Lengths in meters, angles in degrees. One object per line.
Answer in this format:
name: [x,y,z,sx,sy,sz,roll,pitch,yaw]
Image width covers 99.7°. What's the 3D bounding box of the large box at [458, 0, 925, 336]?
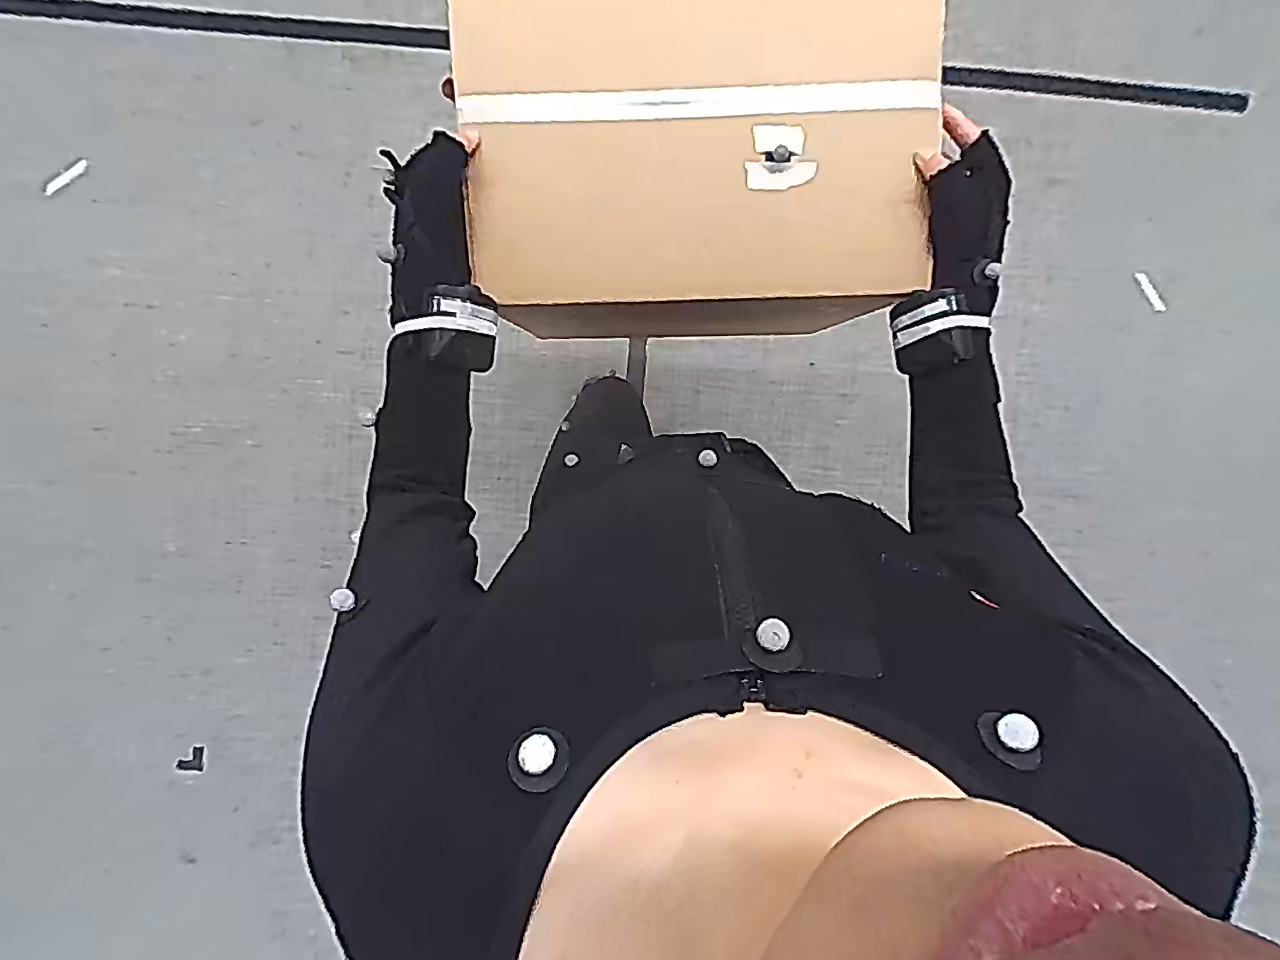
large box: [0.044,-0.347,0.619,0.408,0.320,0.320,-2,99,-1]
